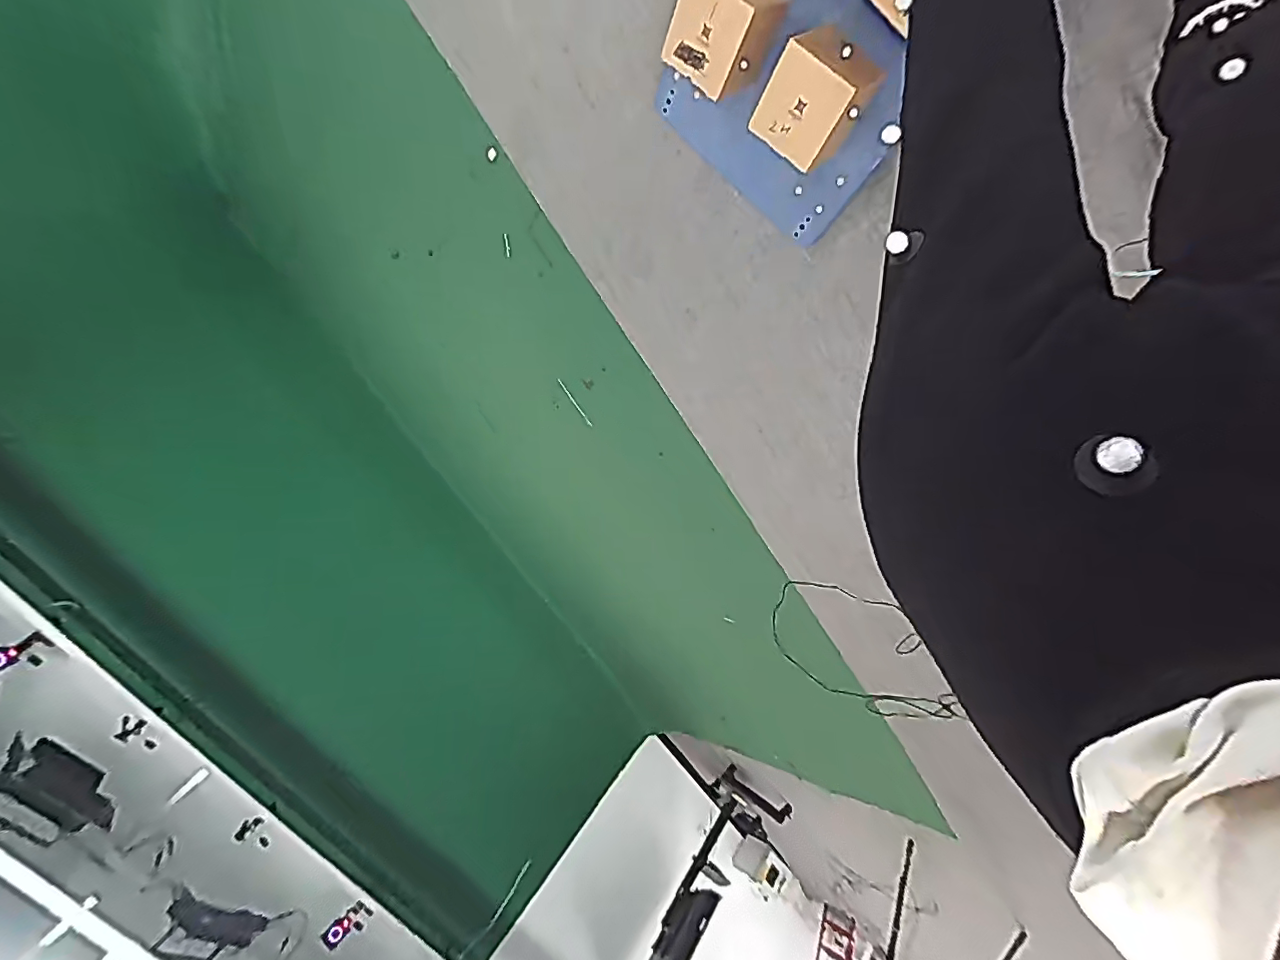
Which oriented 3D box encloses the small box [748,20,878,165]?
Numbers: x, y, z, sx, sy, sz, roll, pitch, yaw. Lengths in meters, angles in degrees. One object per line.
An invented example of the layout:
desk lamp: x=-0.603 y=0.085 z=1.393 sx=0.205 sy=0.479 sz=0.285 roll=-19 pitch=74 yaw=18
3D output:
small box: x=0.365 y=-0.808 z=1.125 sx=0.168 sy=0.176 sz=0.179 roll=42 pitch=148 yaw=4

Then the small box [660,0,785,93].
small box: x=0.177 y=-0.974 z=1.142 sx=0.168 sy=0.176 sz=0.179 roll=42 pitch=148 yaw=3
